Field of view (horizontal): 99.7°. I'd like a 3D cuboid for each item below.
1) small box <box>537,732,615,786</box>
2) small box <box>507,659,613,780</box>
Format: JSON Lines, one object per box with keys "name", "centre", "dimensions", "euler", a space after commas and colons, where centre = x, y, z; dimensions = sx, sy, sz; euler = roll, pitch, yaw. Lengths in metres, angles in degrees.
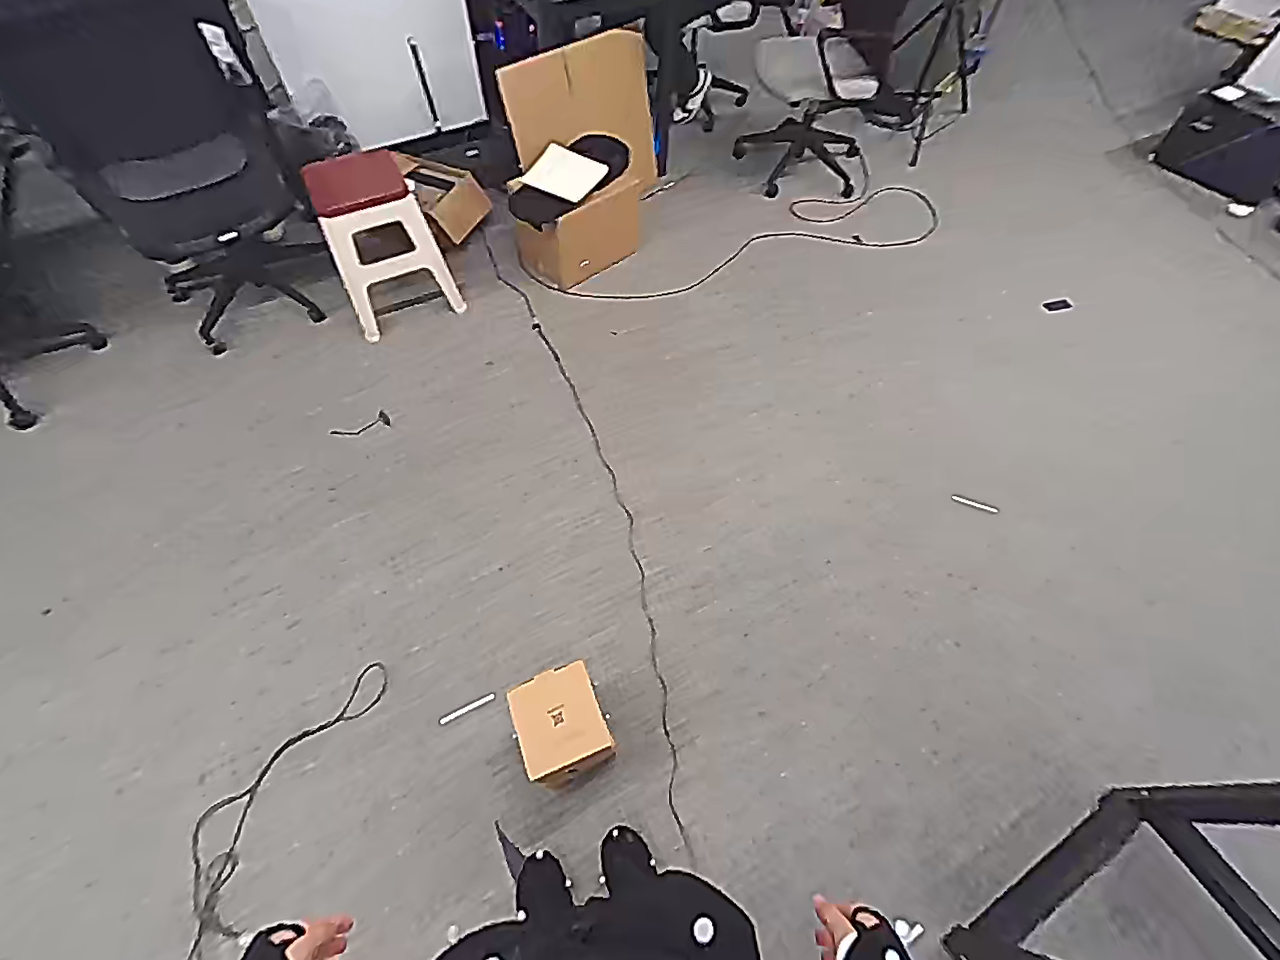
{"name": "small box", "centre": [-0.169, 0.592, 1.264], "dimensions": [0.179, 0.176, 0.168], "euler": [-24, 62, -15]}
{"name": "small box", "centre": [-0.163, 0.503, 1.126], "dimensions": [0.168, 0.176, 0.179], "euler": [-20, 62, -12]}
